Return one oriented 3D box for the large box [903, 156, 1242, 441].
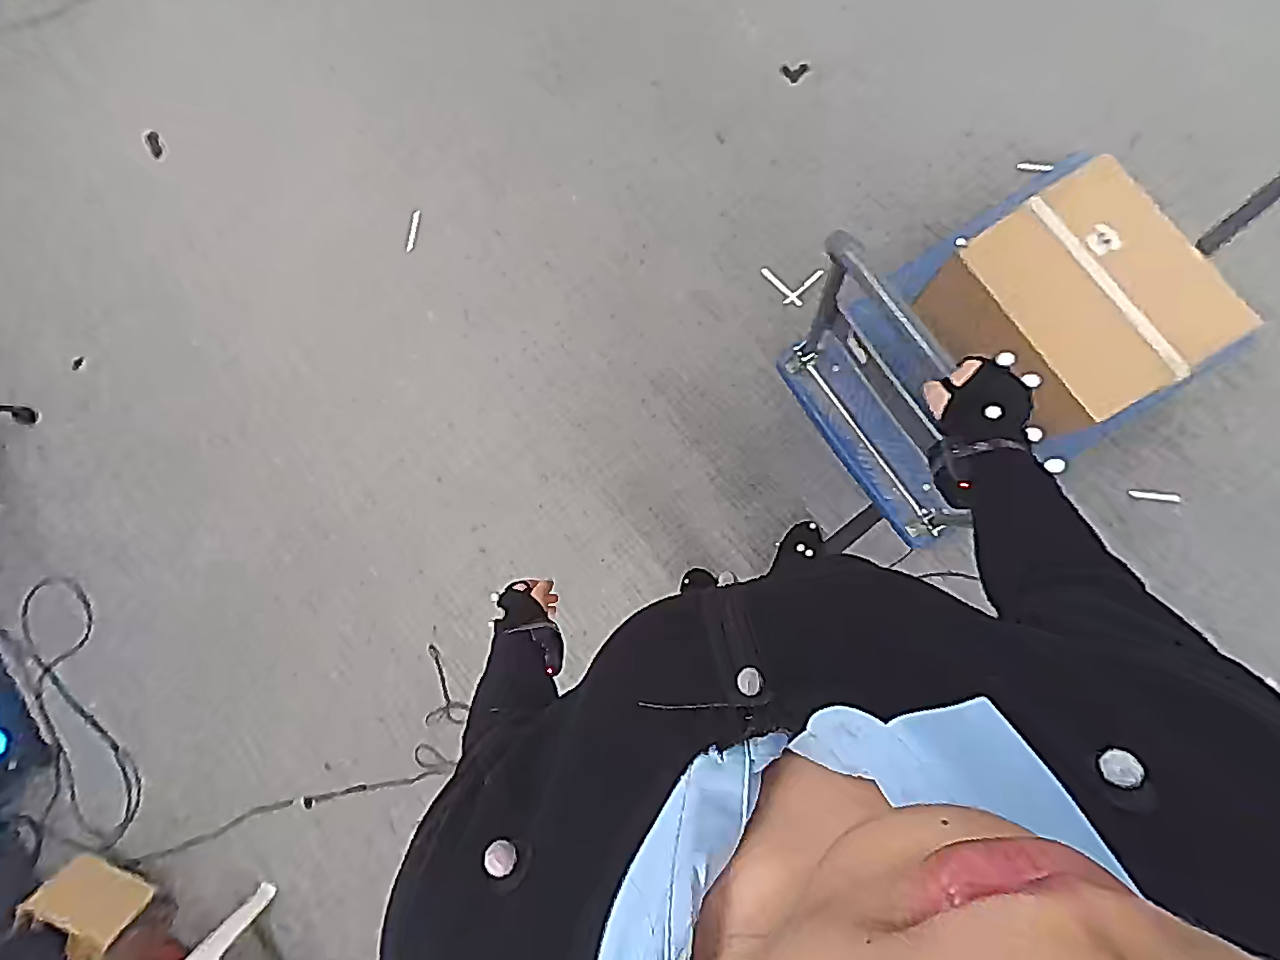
[{"bbox_3d":[0.843,-0.348,1.132,0.320,0.320,0.408,-34,79,4],"label":"large box"}]
